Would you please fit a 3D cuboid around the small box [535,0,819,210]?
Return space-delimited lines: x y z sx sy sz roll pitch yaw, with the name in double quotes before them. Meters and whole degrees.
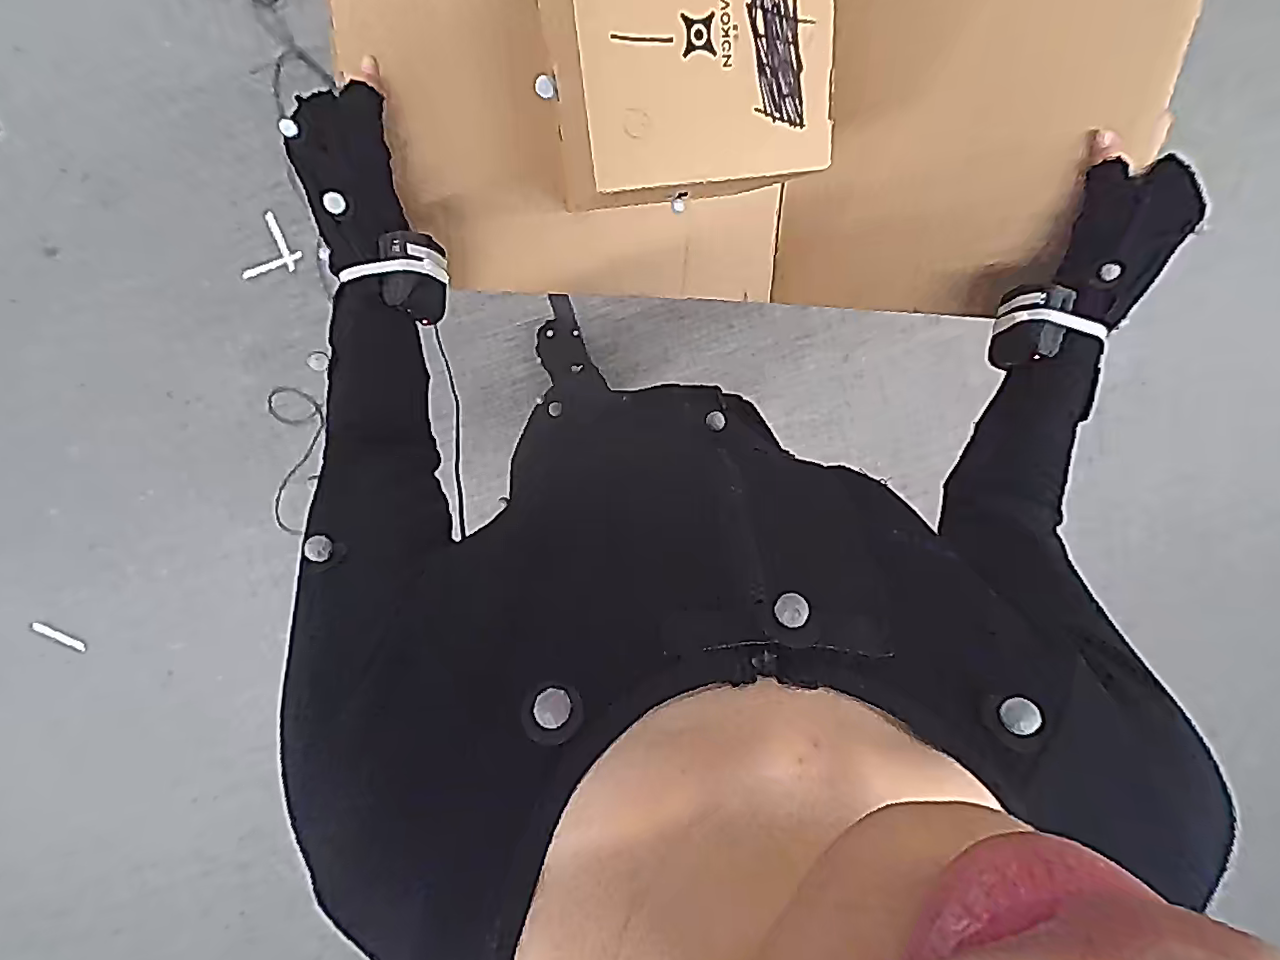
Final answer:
"small box" 0.021 -0.317 0.428 0.179 0.176 0.168 -11 114 -9
